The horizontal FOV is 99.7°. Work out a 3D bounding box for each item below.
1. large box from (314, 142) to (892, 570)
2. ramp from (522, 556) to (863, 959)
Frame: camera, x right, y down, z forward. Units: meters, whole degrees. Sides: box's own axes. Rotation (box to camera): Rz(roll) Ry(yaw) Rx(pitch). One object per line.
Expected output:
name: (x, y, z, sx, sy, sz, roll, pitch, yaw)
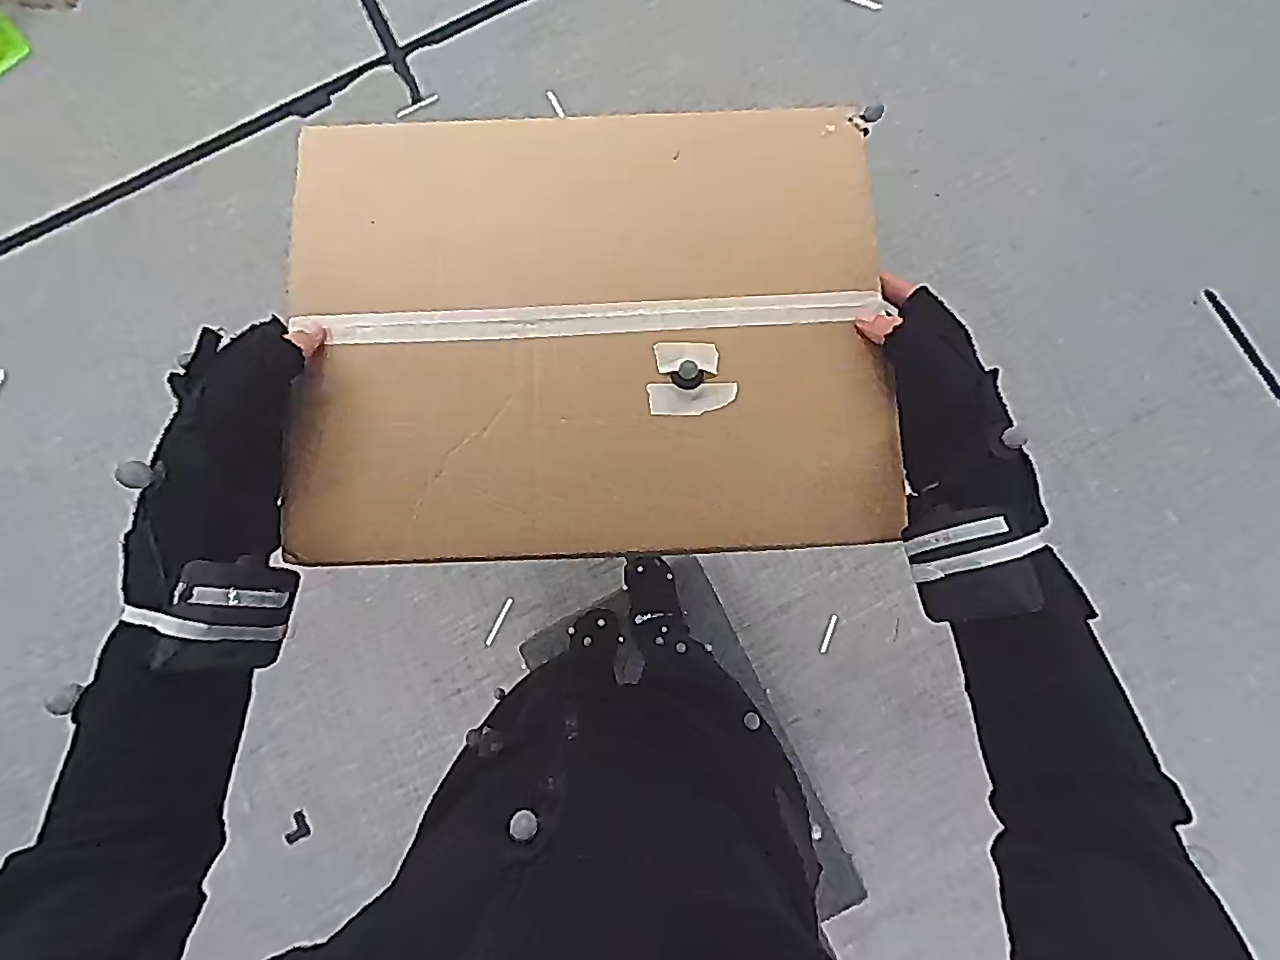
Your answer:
large box: (-0.031, -0.077, 0.537, 0.408, 0.320, 0.320, -2, 82, 0)
ramp: (0.148, 0.729, 1.364, 0.509, 0.206, 0.991, -29, 84, -3)
